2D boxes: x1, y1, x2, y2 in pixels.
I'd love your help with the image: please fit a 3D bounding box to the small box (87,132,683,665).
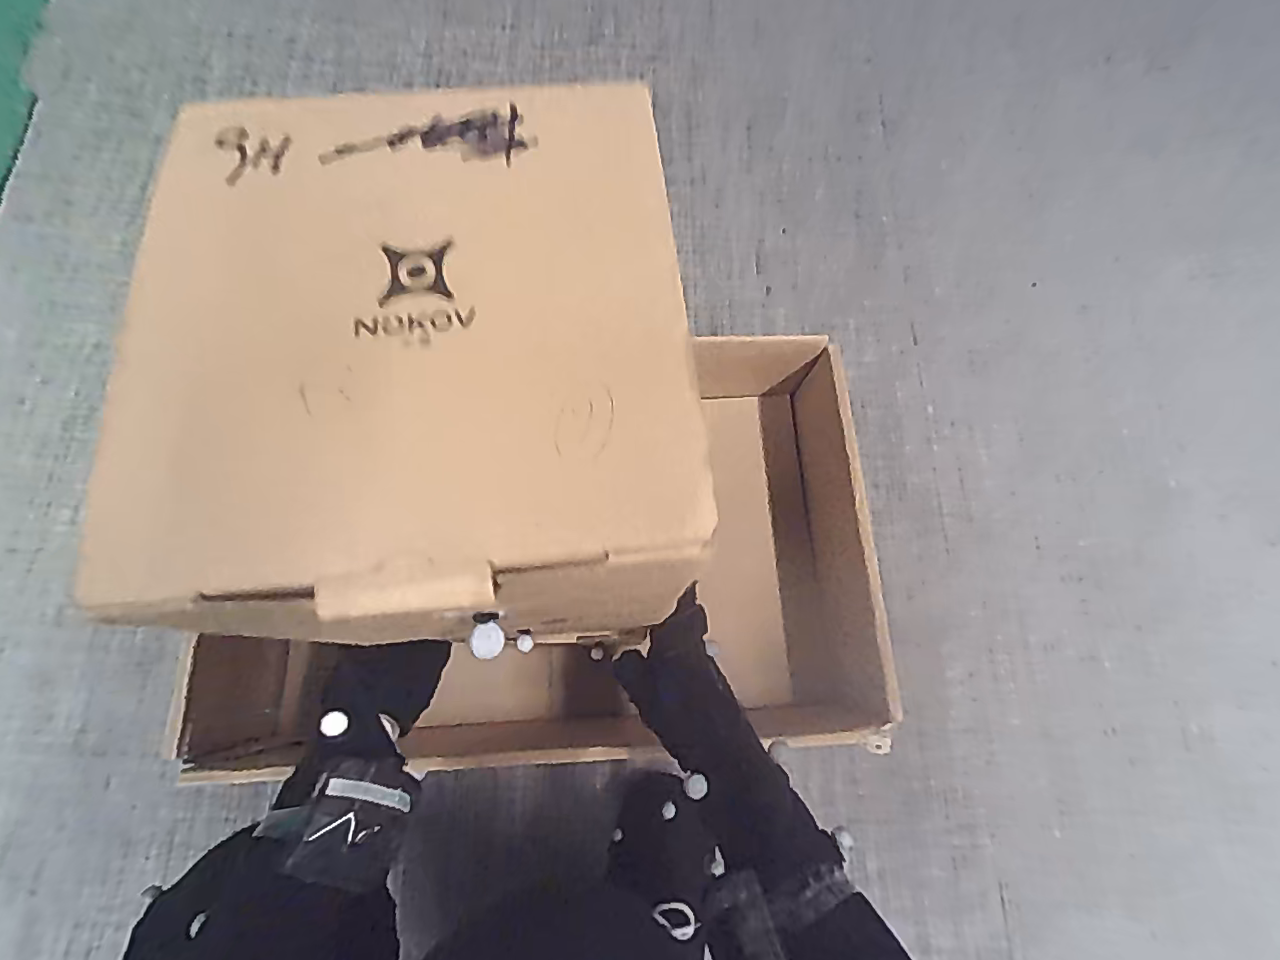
[{"bbox_3d":[-0.076,-0.016,0.248,0.168,0.176,0.179,-5,72,-3],"label":"small box"}]
